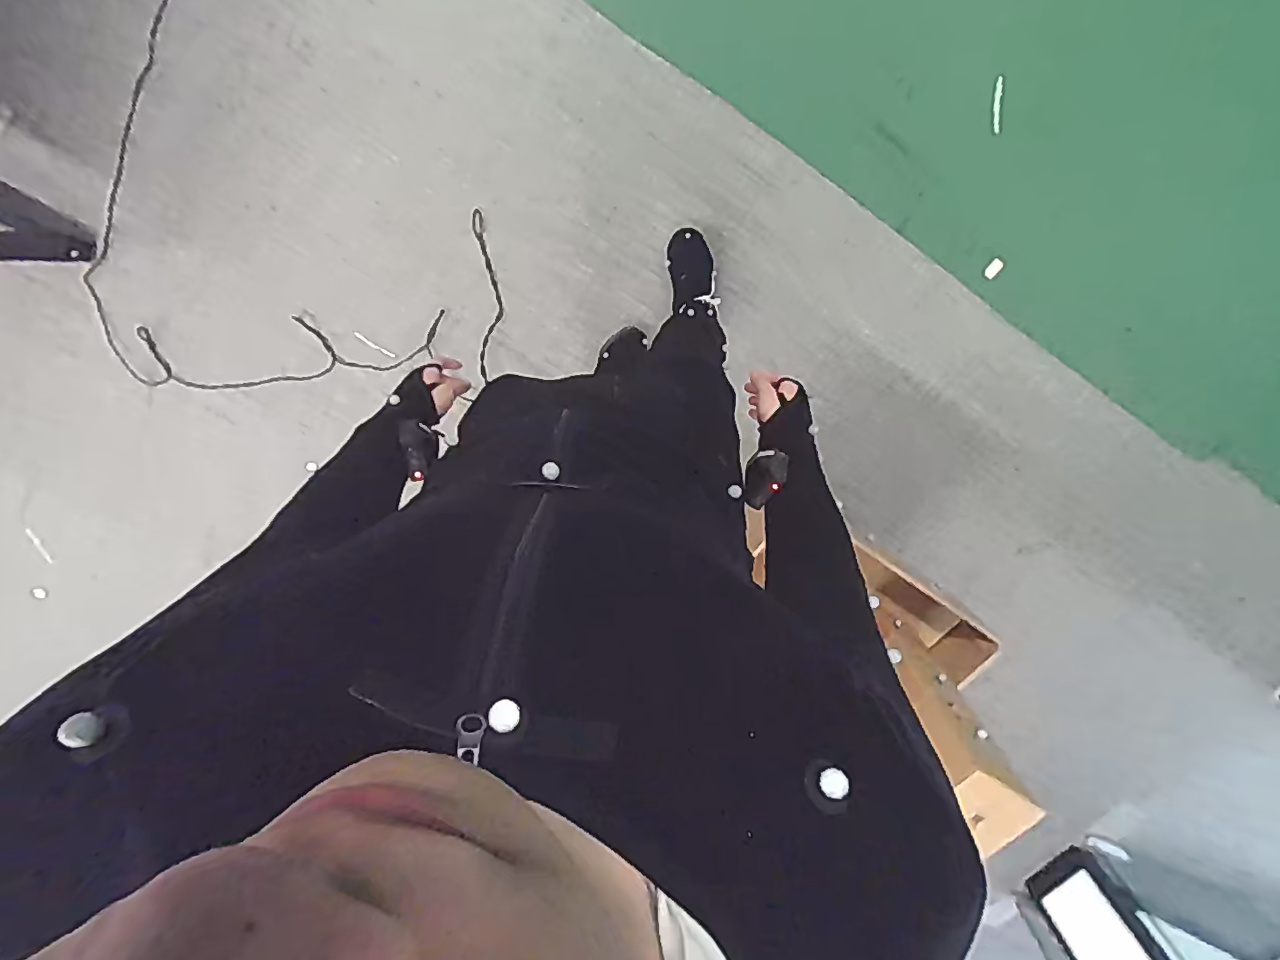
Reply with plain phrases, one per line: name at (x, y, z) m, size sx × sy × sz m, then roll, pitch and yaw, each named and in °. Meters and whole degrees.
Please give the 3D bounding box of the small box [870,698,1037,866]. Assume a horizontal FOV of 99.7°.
small box at (0.550, 0.542, 0.984) m, size 0.168 × 0.176 × 0.179 m, roll 35°, pitch 107°, yaw -11°

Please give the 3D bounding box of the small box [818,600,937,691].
small box at (0.553, 0.422, 1.290) m, size 0.168 × 0.176 × 0.179 m, roll 36°, pitch 108°, yaw -12°

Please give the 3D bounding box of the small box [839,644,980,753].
small box at (0.552, 0.483, 1.138) m, size 0.168 × 0.176 × 0.179 m, roll 35°, pitch 106°, yaw -11°
